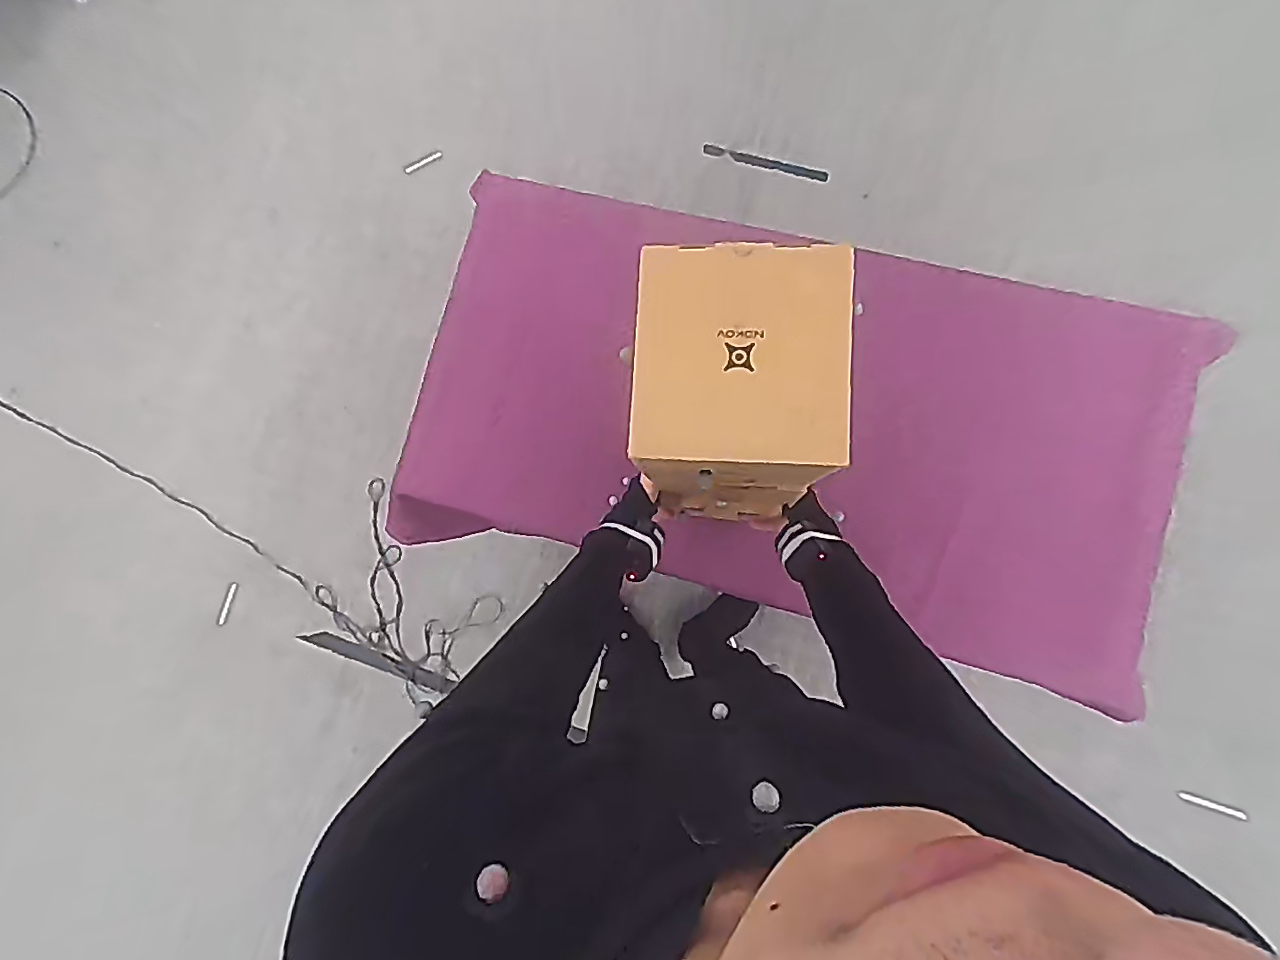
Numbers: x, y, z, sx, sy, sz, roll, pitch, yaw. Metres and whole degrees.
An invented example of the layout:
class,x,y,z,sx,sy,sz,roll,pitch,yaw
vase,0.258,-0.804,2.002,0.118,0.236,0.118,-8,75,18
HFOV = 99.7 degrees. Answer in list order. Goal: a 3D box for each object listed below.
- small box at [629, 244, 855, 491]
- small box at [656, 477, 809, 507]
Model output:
class,x,y,z,sx,sy,sz,roll,pitch,yaw
small box,0.088,-0.086,0.489,0.168,0.176,0.179,2,82,7
small box,0.110,-0.068,0.649,0.168,0.176,0.179,5,84,8
